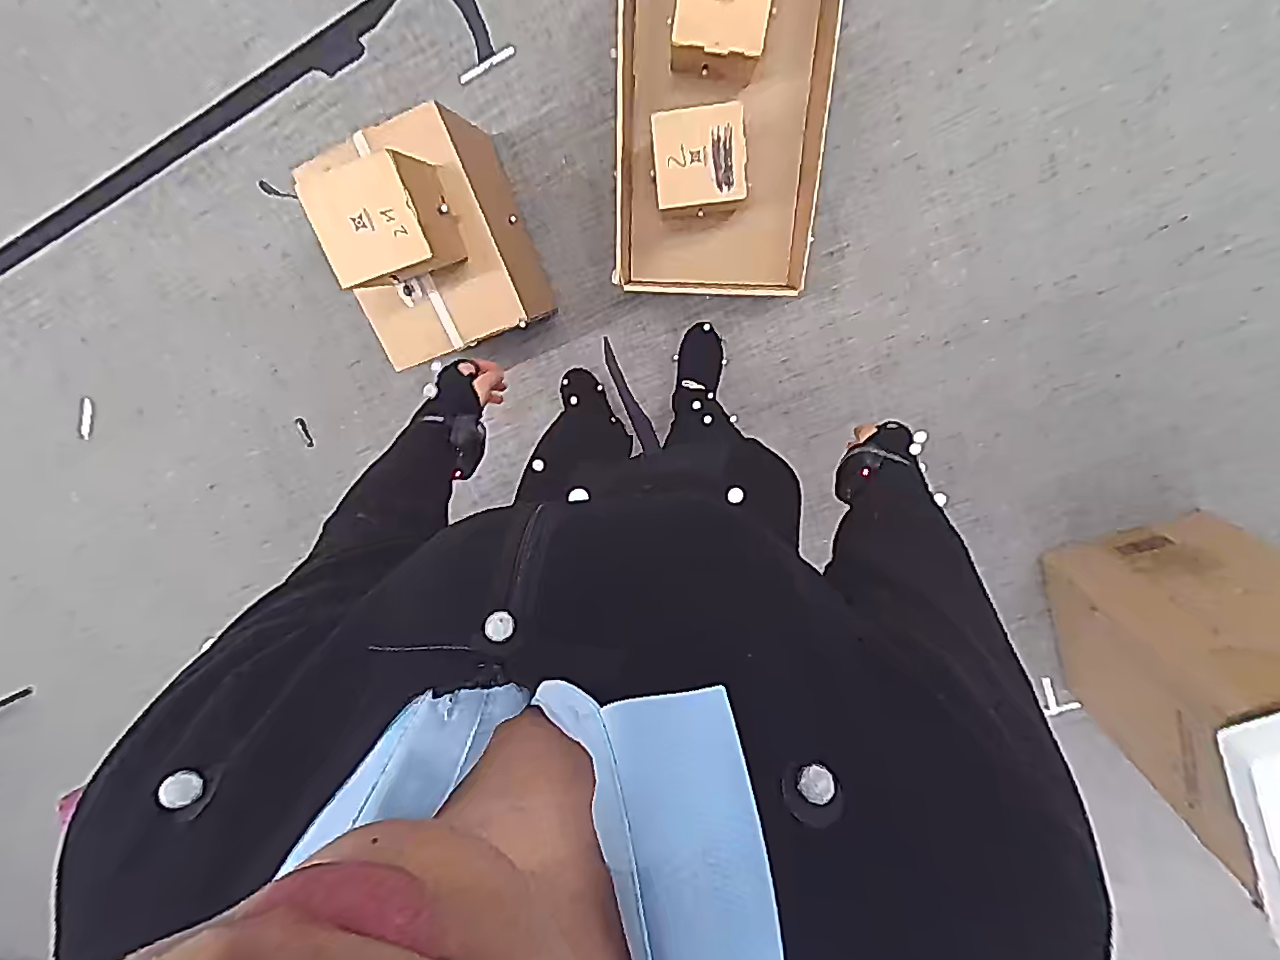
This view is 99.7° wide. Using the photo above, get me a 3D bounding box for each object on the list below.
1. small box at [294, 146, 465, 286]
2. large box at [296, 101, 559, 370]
[{"bbox_3d":[-0.435,-0.444,0.933,0.179,0.176,0.168,-14,111,9],"label":"small box"},{"bbox_3d":[-0.418,-0.505,1.174,0.320,0.320,0.408,-18,111,12],"label":"large box"}]
